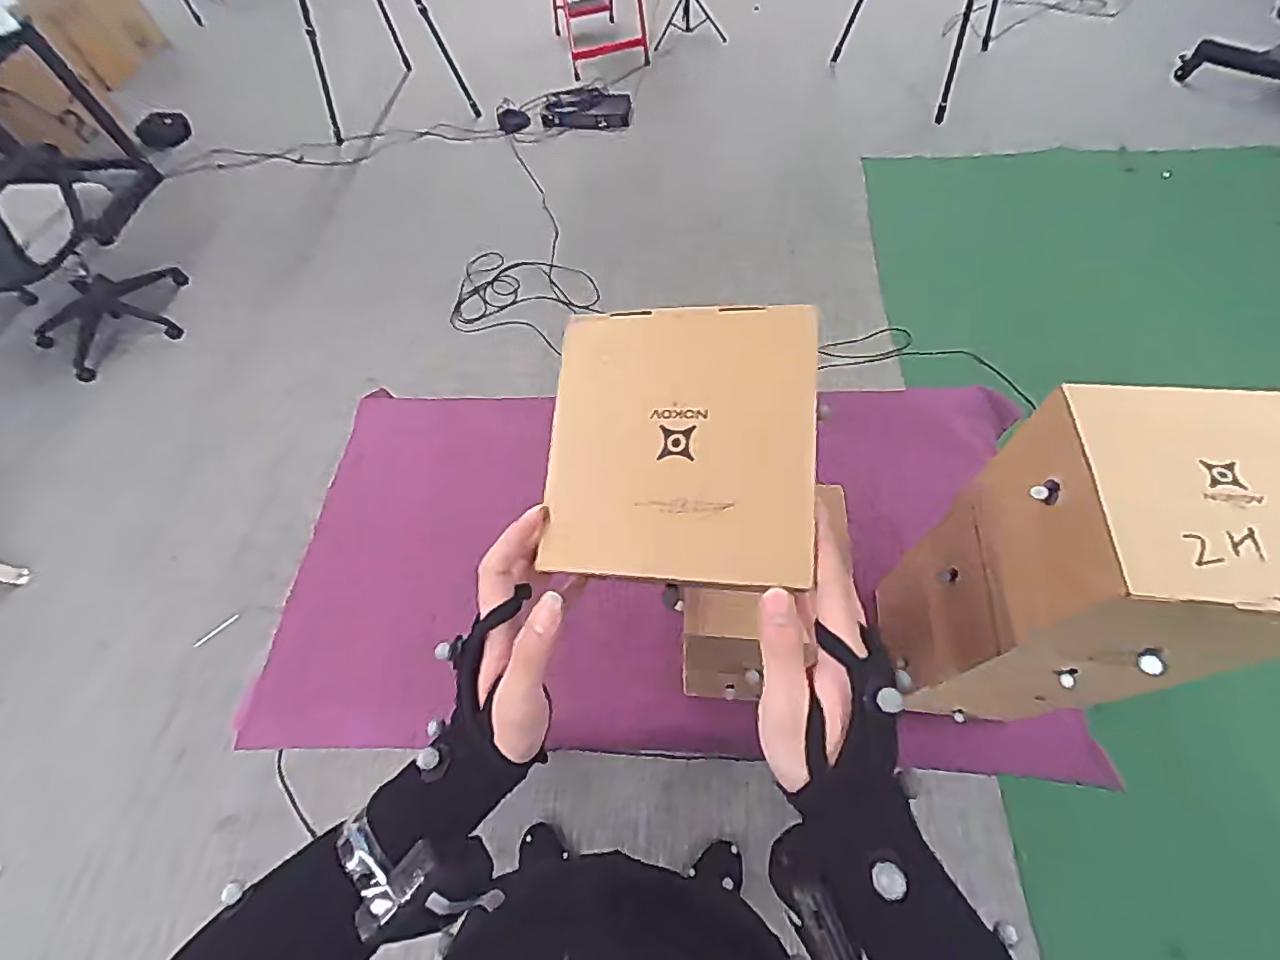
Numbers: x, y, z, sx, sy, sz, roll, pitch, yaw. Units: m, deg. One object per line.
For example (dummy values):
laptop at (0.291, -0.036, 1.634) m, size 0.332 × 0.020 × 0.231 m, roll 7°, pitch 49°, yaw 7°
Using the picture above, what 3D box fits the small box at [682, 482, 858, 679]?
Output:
small box at (0.135, 0.115, 0.617) m, size 0.168 × 0.176 × 0.179 m, roll 2°, pitch 60°, yaw 7°

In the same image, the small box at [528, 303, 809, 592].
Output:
small box at (0.034, -0.011, 0.408) m, size 0.168 × 0.176 × 0.179 m, roll 2°, pitch 79°, yaw 14°

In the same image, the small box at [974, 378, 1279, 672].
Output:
small box at (0.400, 0.041, 0.438) m, size 0.168 × 0.176 × 0.179 m, roll 4°, pitch 61°, yaw 9°

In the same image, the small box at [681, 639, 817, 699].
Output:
small box at (0.147, 0.200, 0.757) m, size 0.168 × 0.176 × 0.179 m, roll 2°, pitch 59°, yaw 7°

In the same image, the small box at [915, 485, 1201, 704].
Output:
small box at (0.414, 0.126, 0.579) m, size 0.168 × 0.176 × 0.179 m, roll 3°, pitch 60°, yaw 9°
